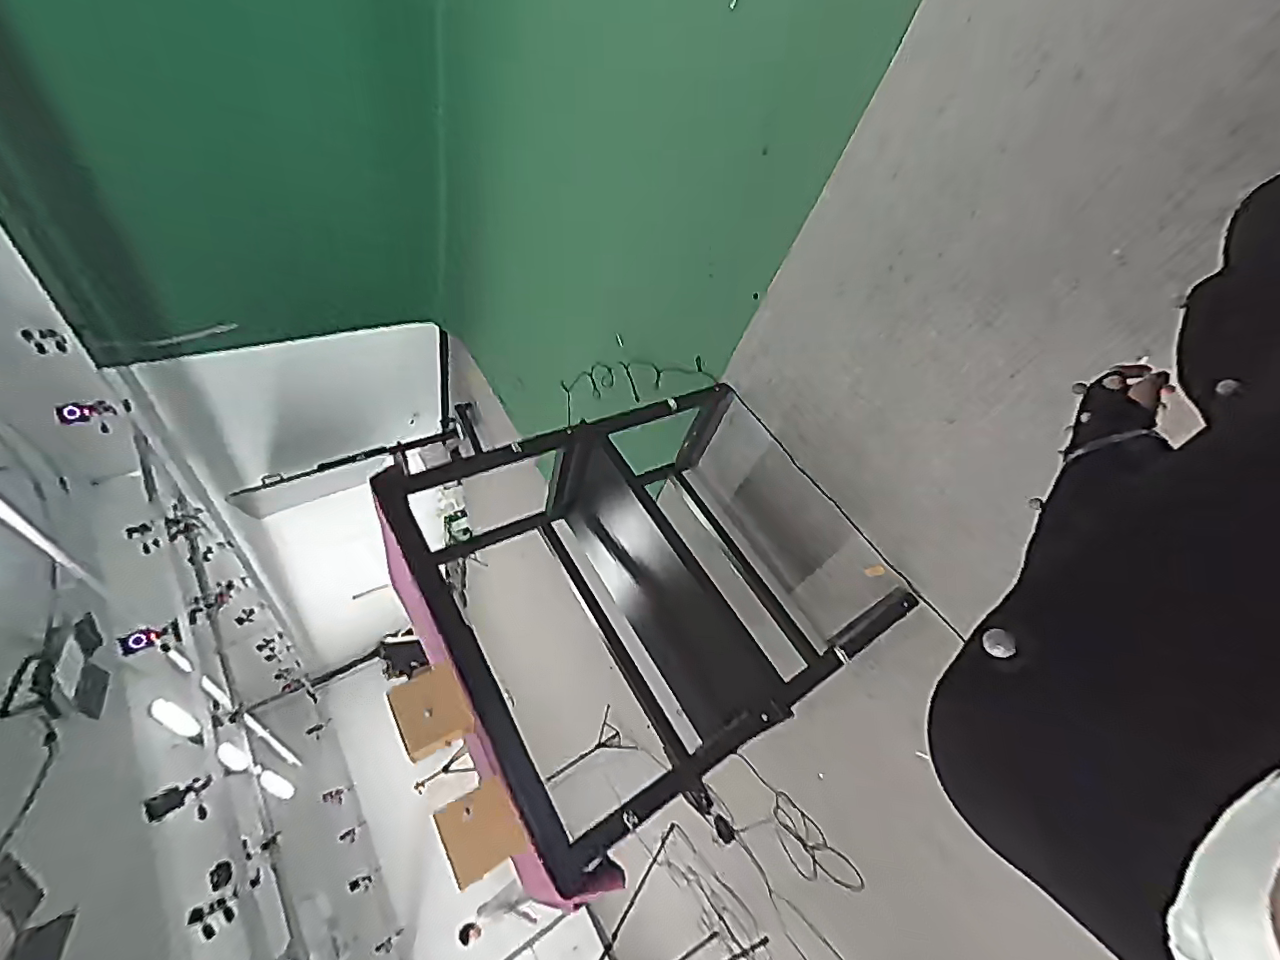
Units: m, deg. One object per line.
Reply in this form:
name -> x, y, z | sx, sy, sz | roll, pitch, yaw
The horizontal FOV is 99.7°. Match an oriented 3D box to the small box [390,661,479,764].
small box -> -0.537, 0.612, 1.427 | 0.179, 0.176, 0.168 | 56, 148, 21
